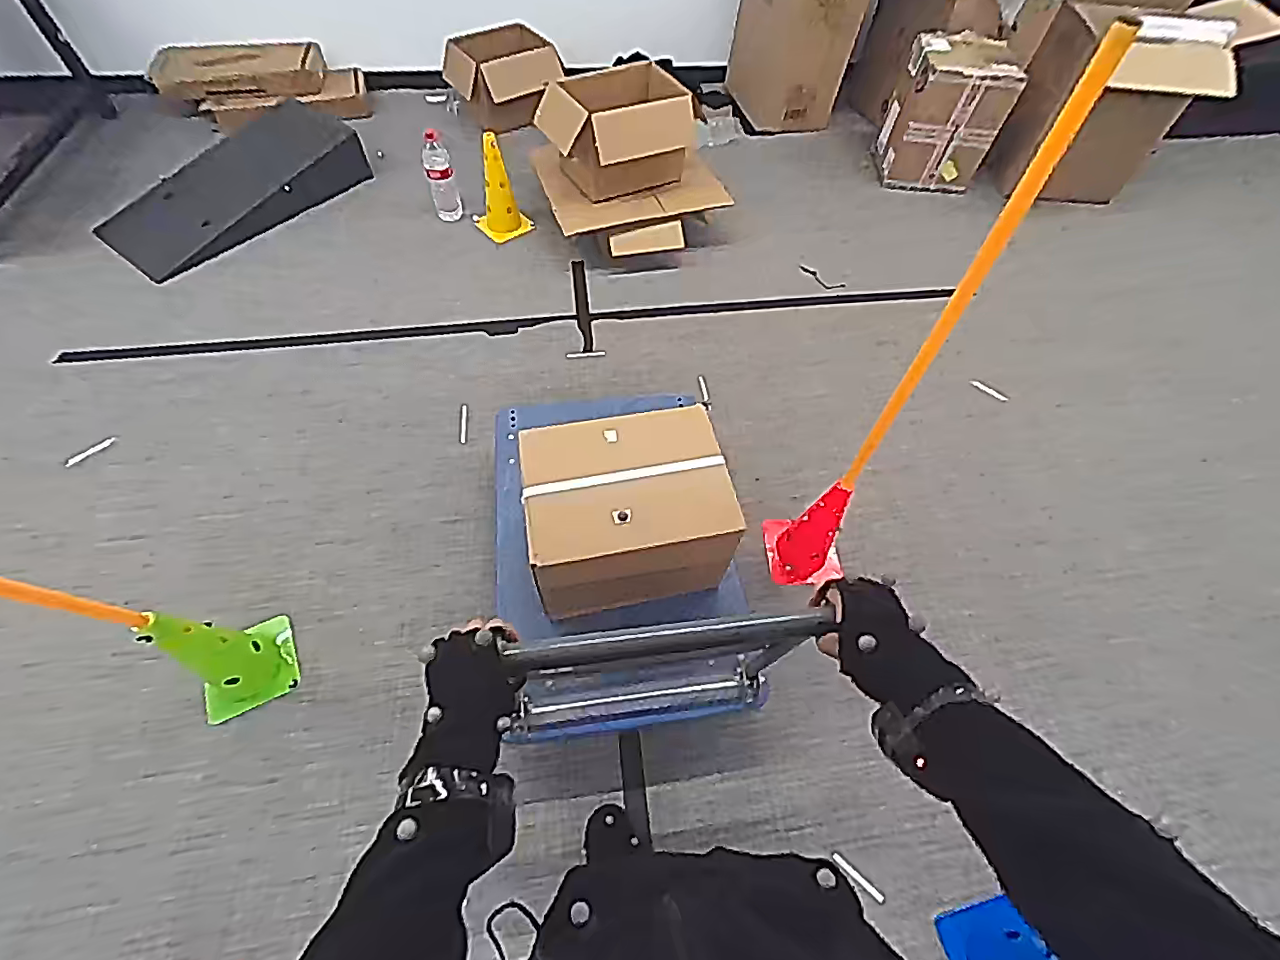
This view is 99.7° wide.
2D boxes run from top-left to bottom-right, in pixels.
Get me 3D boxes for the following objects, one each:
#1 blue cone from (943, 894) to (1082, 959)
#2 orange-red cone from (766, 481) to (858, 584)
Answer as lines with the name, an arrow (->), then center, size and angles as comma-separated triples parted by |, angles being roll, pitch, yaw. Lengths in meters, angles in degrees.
blue cone -> 0.721, 0.860, 0.924 | 0.193, 0.380, 0.192 | -9, 57, -9
orange-red cone -> 0.470, 0.109, 1.376 | 0.199, 0.360, 0.198 | 1, 58, -4
